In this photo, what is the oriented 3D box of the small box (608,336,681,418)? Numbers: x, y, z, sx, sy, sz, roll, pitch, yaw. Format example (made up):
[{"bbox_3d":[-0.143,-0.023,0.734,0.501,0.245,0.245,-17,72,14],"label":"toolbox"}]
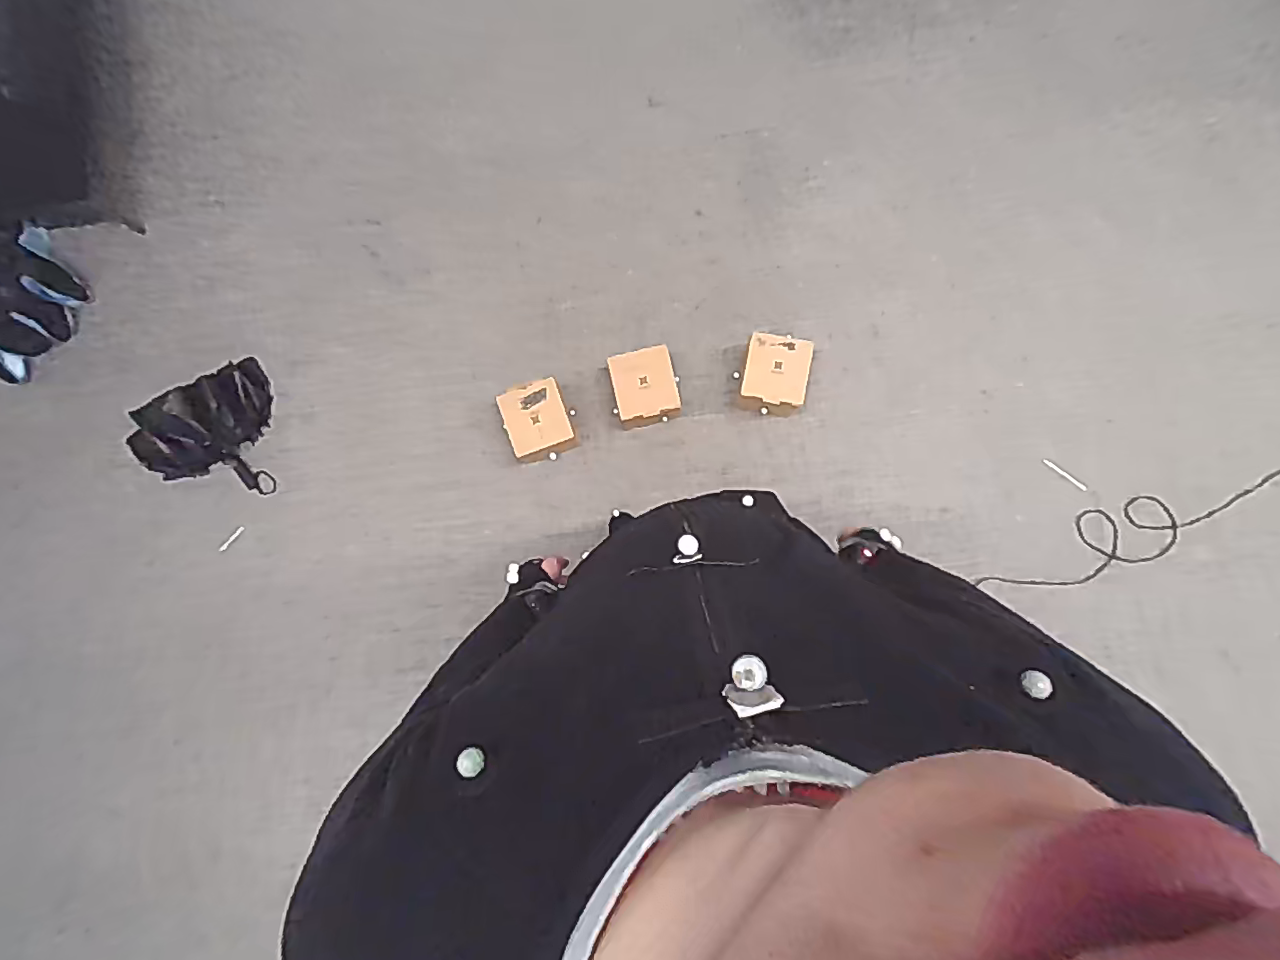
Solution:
[{"bbox_3d":[0.015,-0.277,1.505,0.168,0.176,0.179,-14,86,0],"label":"small box"}]

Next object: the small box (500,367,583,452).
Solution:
[{"bbox_3d":[-0.269,-0.189,1.509,0.168,0.176,0.179,-20,87,1],"label":"small box"}]

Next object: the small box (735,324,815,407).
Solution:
[{"bbox_3d":[0.364,-0.307,1.490,0.168,0.176,0.179,12,88,3],"label":"small box"}]
